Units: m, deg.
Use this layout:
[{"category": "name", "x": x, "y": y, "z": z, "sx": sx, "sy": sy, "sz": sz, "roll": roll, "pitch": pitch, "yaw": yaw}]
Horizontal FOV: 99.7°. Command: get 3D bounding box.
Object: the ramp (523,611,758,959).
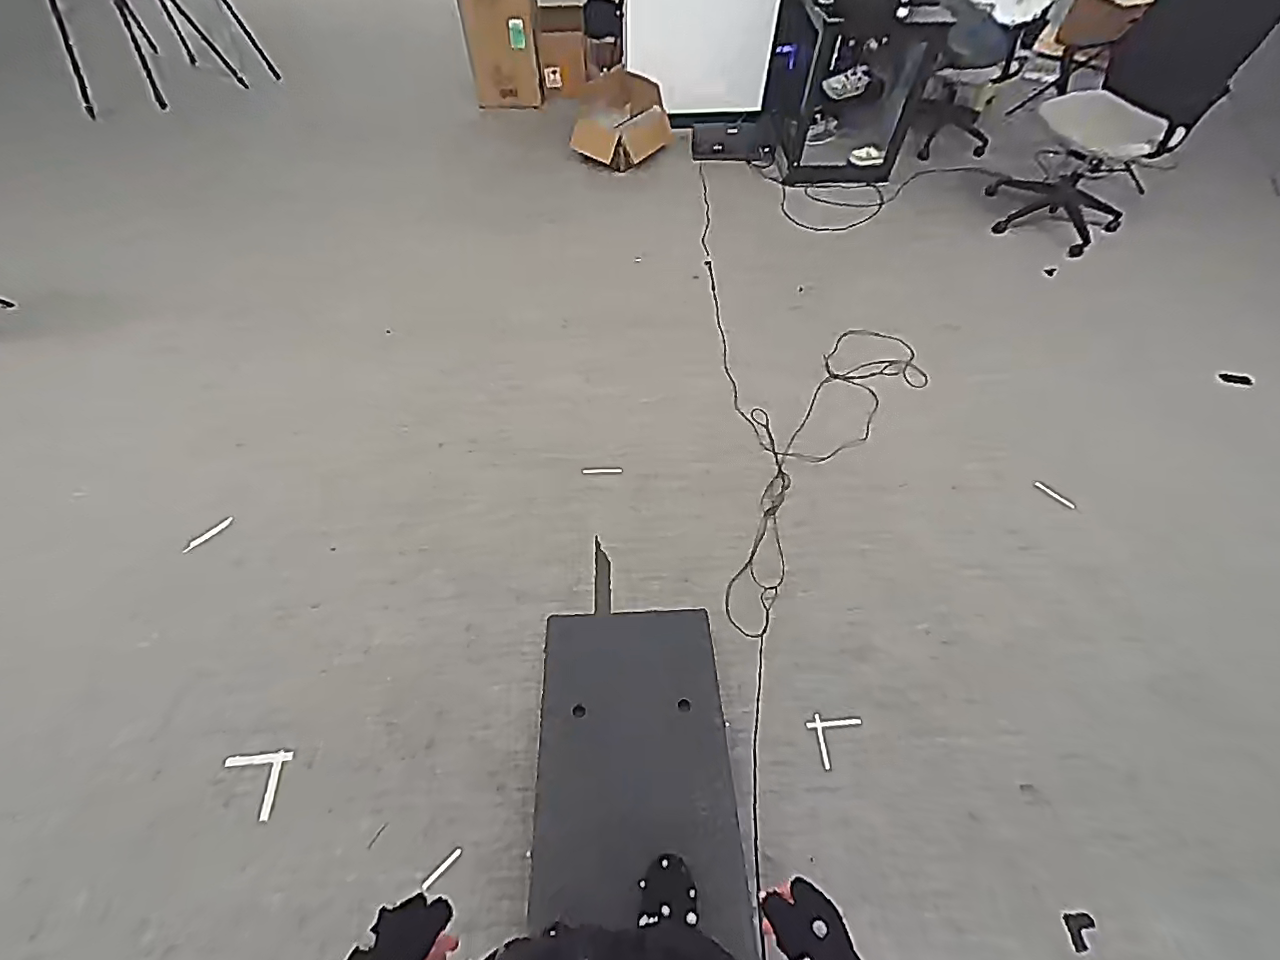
[{"category": "ramp", "x": -0.014, "y": 0.780, "z": 1.322, "sx": 0.509, "sy": 0.206, "sz": 0.991, "roll": -4, "pitch": 57, "yaw": -2}]
